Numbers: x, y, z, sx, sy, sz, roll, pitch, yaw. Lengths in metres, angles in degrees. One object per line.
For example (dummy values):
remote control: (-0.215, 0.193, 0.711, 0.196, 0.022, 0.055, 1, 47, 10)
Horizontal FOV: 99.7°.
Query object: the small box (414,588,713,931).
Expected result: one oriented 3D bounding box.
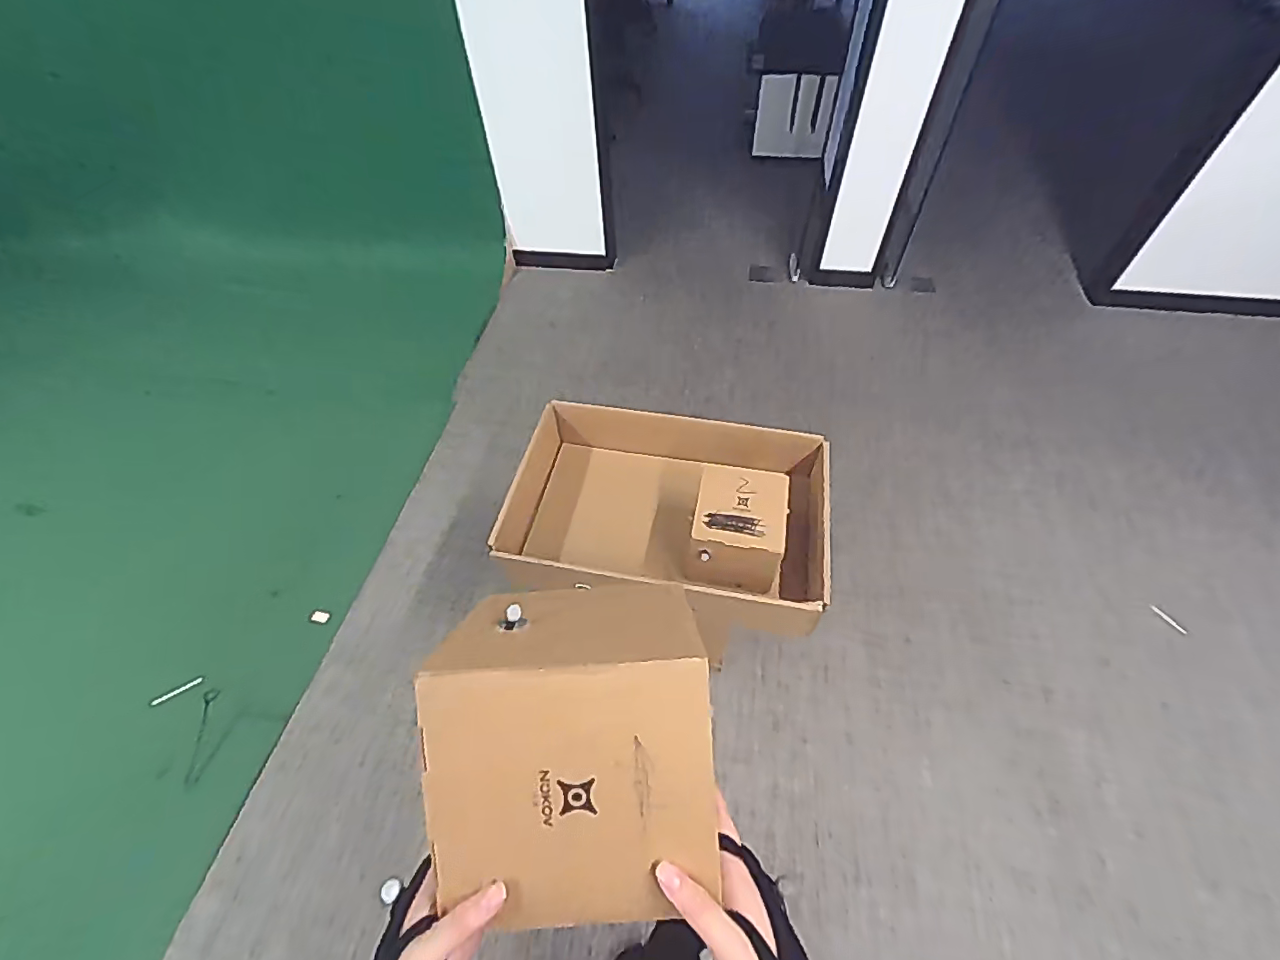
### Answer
small box: (-0.045, 0.184, 0.404, 0.179, 0.176, 0.168, -3, 94, -1)
